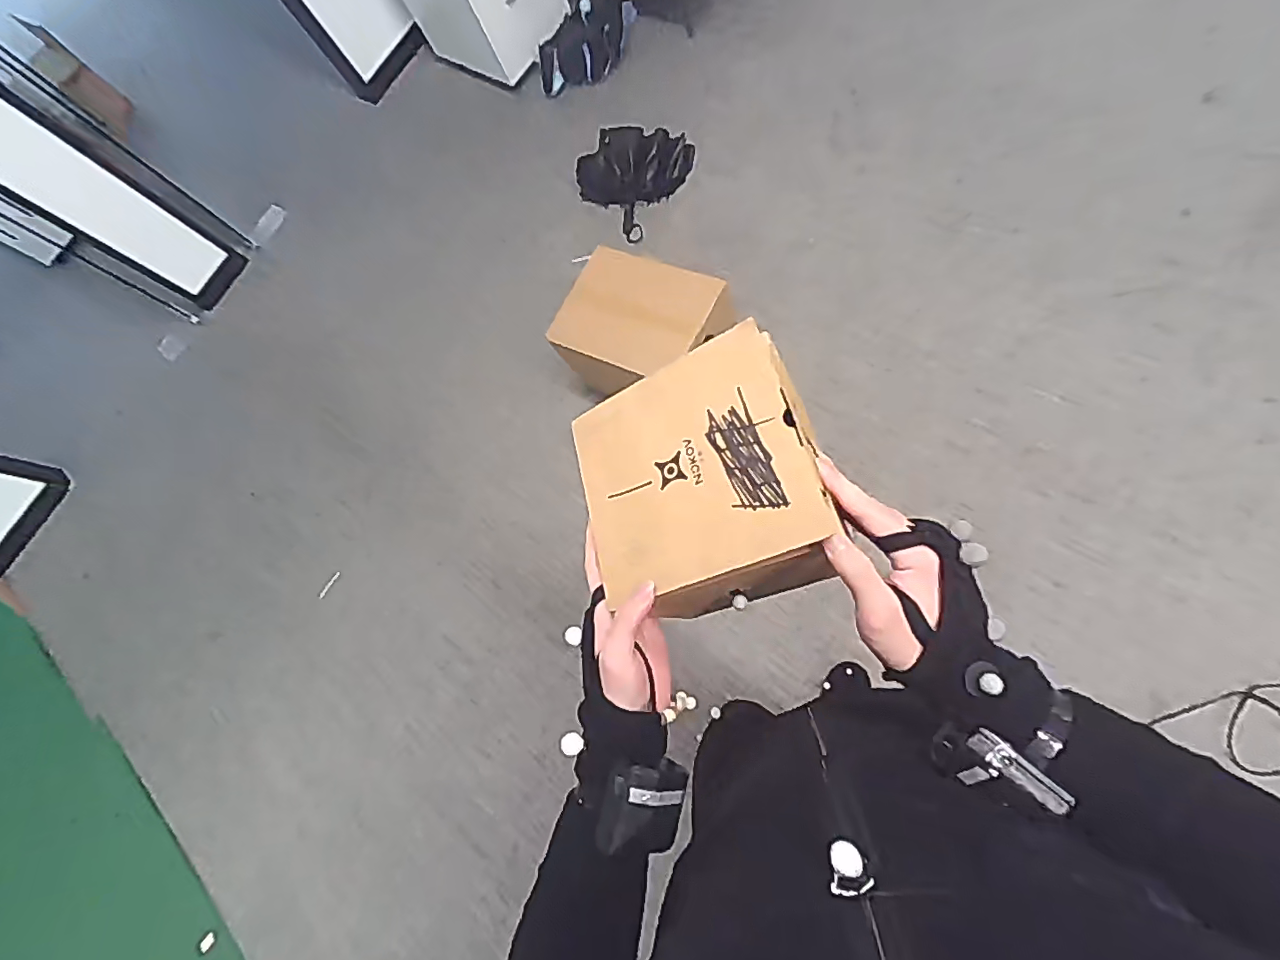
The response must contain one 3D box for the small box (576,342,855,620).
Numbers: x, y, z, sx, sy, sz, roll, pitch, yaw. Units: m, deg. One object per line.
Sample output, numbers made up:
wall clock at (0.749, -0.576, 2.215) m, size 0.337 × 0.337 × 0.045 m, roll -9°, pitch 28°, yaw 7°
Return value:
small box at (0.073, 0.018, 0.468) m, size 0.179 × 0.176 × 0.168 m, roll -23°, pitch 66°, yaw 20°
